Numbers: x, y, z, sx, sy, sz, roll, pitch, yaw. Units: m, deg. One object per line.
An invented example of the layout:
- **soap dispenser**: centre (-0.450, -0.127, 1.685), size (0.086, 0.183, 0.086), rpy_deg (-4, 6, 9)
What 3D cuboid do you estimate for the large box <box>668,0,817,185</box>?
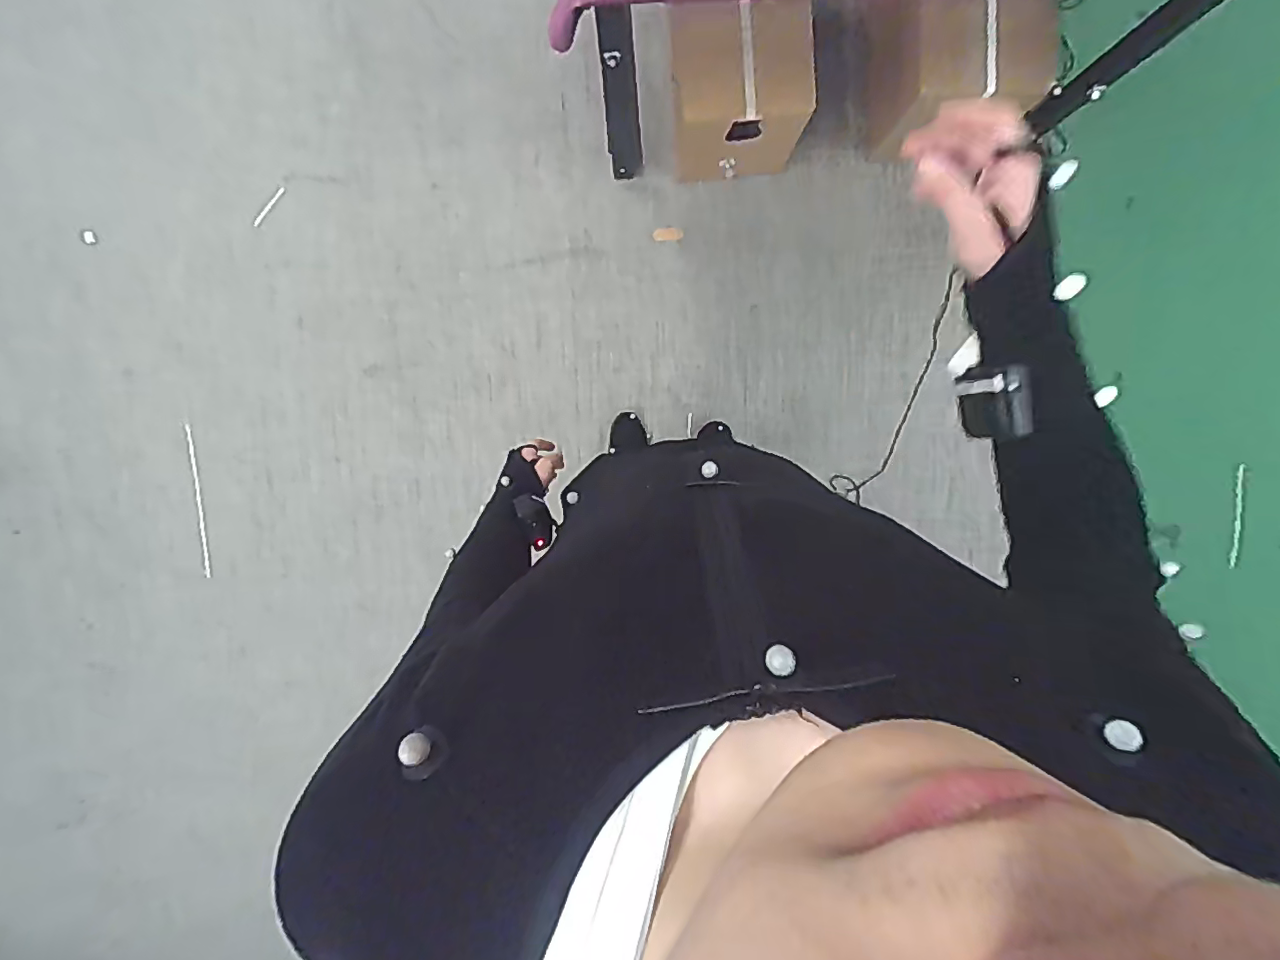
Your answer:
- **large box**: centre (0.244, -1.049, 1.394), size (0.320, 0.320, 0.408), rpy_deg (-5, 94, 1)
